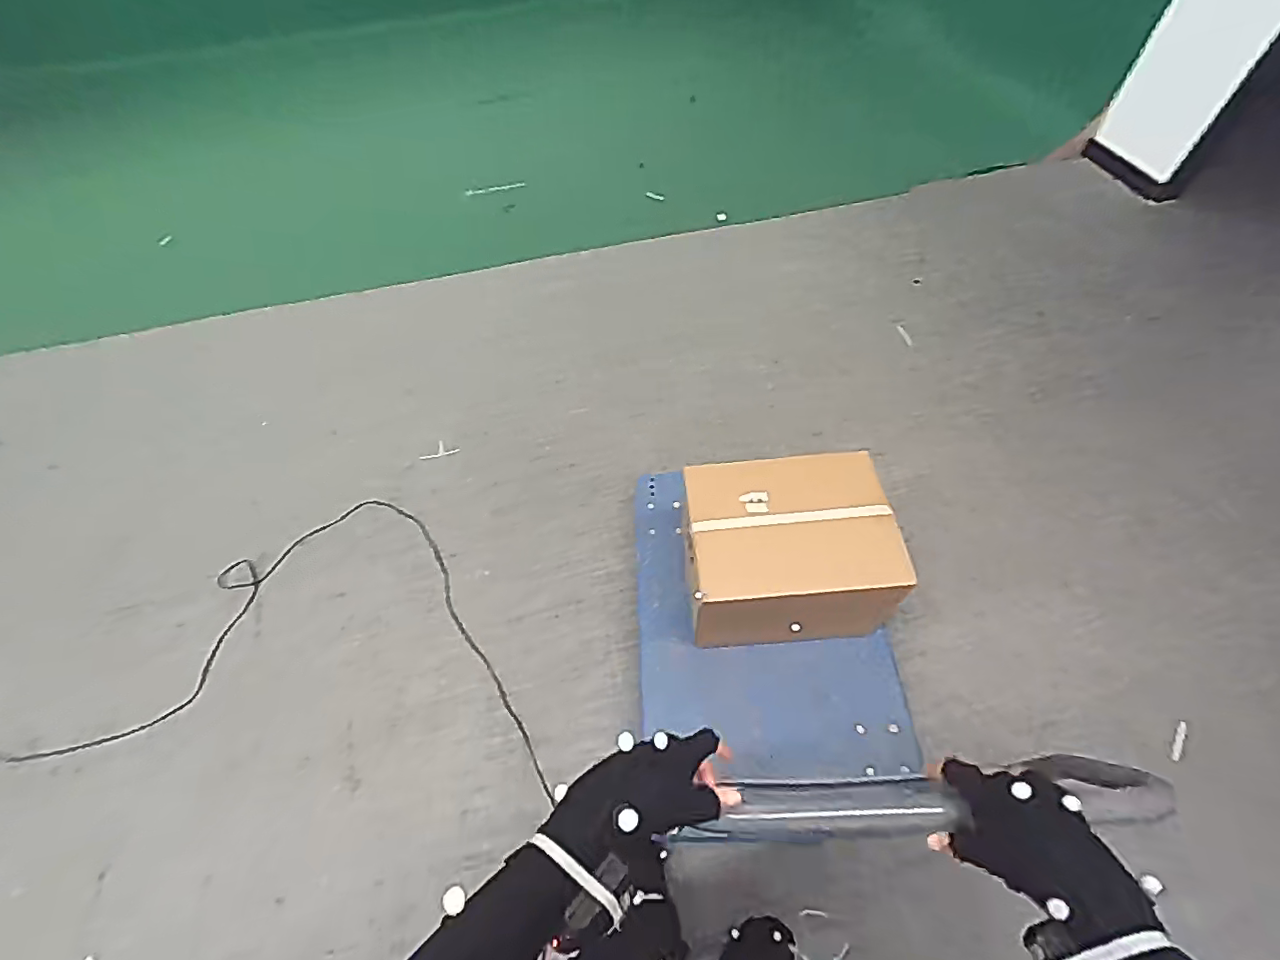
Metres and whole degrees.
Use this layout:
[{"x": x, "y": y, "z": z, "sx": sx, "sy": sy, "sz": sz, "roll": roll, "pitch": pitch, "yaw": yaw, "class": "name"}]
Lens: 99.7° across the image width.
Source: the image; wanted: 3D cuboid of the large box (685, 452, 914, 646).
[{"x": 0.320, "y": 0.166, "z": 1.224, "sx": 0.408, "sy": 0.320, "sz": 0.320, "roll": -6, "pitch": 56, "yaw": 1, "class": "large box"}]
